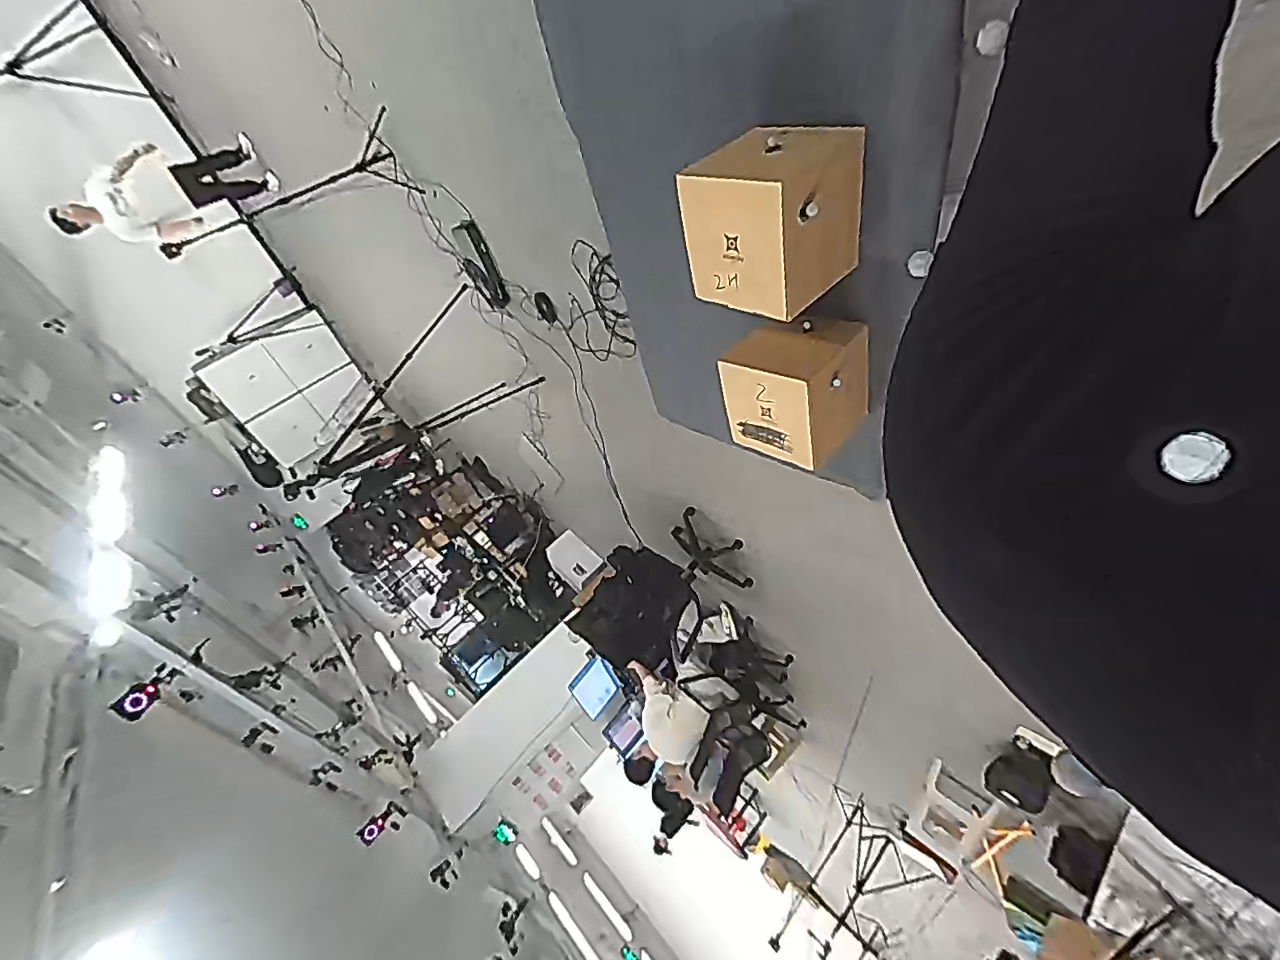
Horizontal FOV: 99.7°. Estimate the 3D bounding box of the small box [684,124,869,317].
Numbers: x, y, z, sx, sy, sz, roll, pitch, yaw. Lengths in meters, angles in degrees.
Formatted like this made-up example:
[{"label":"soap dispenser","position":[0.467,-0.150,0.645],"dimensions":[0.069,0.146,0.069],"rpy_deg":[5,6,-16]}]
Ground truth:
[{"label":"small box","position":[0.186,-0.353,0.724],"dimensions":[0.168,0.176,0.179],"rpy_deg":[32,154,38]}]
